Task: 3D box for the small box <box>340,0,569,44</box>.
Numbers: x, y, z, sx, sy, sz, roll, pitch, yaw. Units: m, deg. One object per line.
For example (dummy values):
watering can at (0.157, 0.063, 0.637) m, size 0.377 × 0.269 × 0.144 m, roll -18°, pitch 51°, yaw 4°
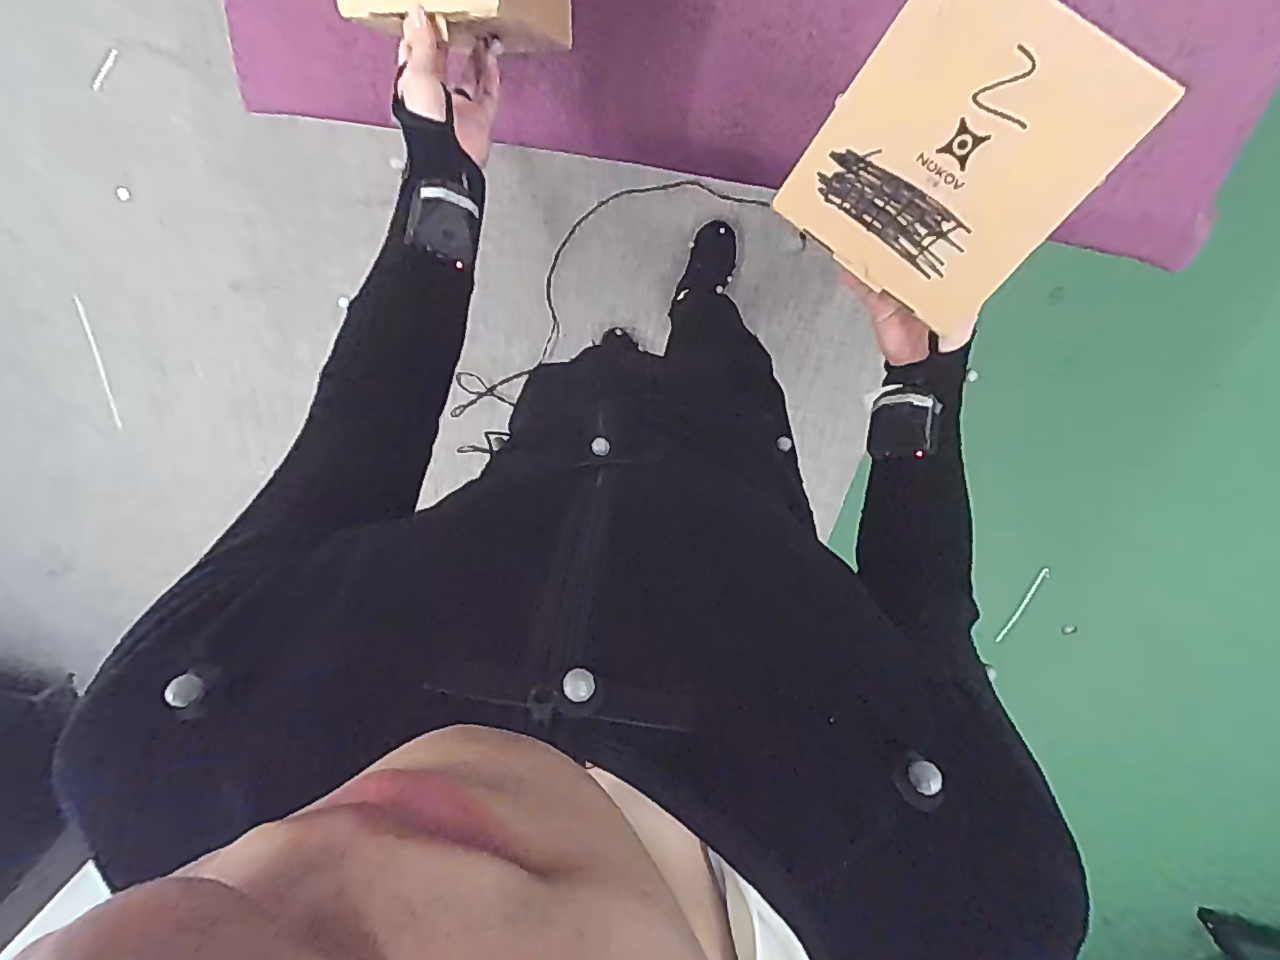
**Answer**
small box at (-0.170, -0.529, 0.503) m, size 0.168 × 0.176 × 0.179 m, roll 11°, pitch 121°, yaw 12°
